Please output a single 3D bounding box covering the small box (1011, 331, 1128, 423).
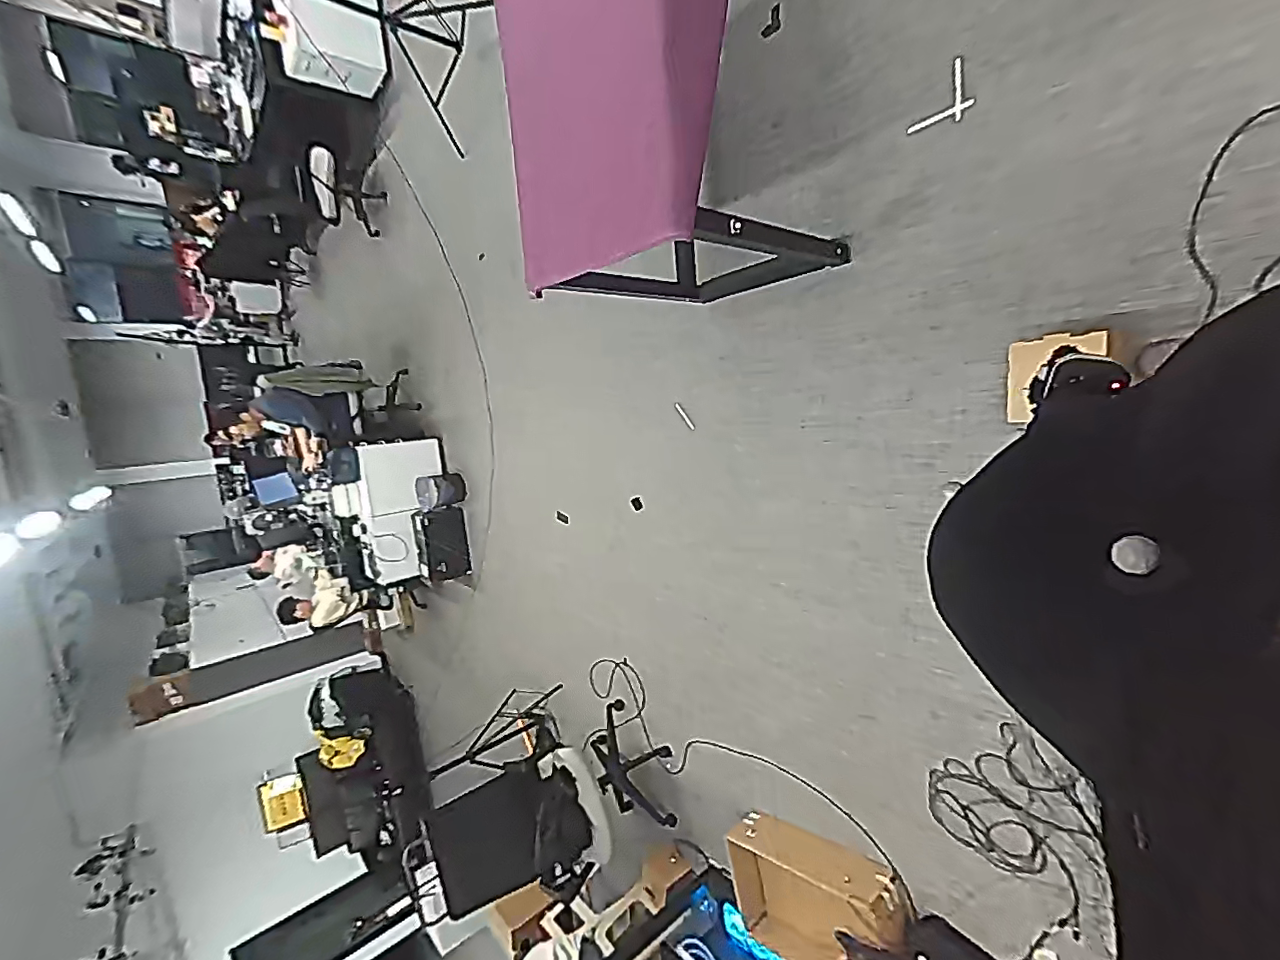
[{"bbox_3d":[0.915,-0.212,1.152,0.168,0.176,0.179,5,100,50],"label":"small box"}]
